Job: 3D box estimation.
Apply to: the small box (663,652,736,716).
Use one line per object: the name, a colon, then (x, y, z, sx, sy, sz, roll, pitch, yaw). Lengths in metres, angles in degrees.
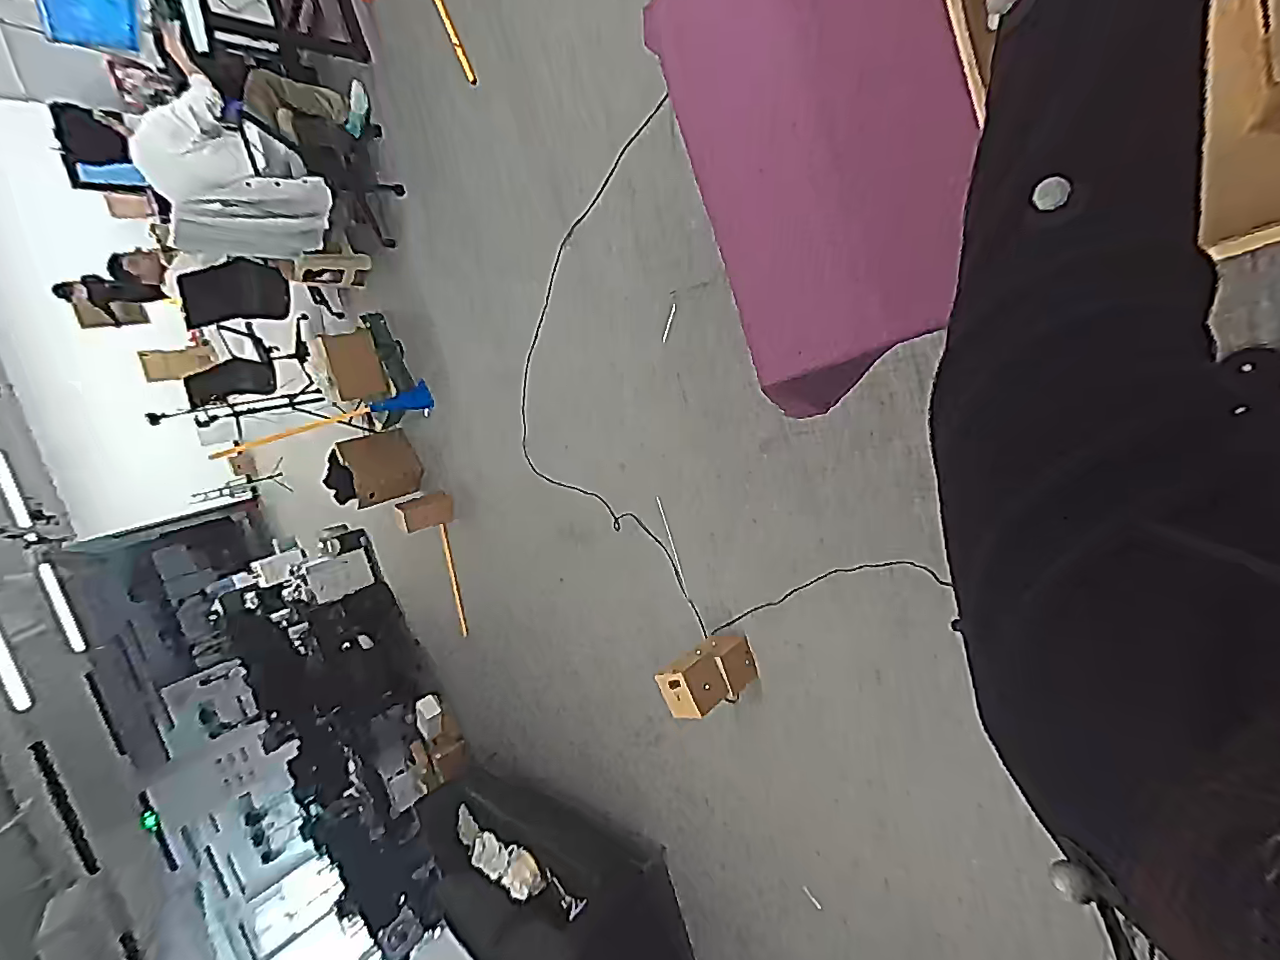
small box: (0.224, 0.757, 2.023, 0.168, 0.176, 0.179, -29, 85, 50)
